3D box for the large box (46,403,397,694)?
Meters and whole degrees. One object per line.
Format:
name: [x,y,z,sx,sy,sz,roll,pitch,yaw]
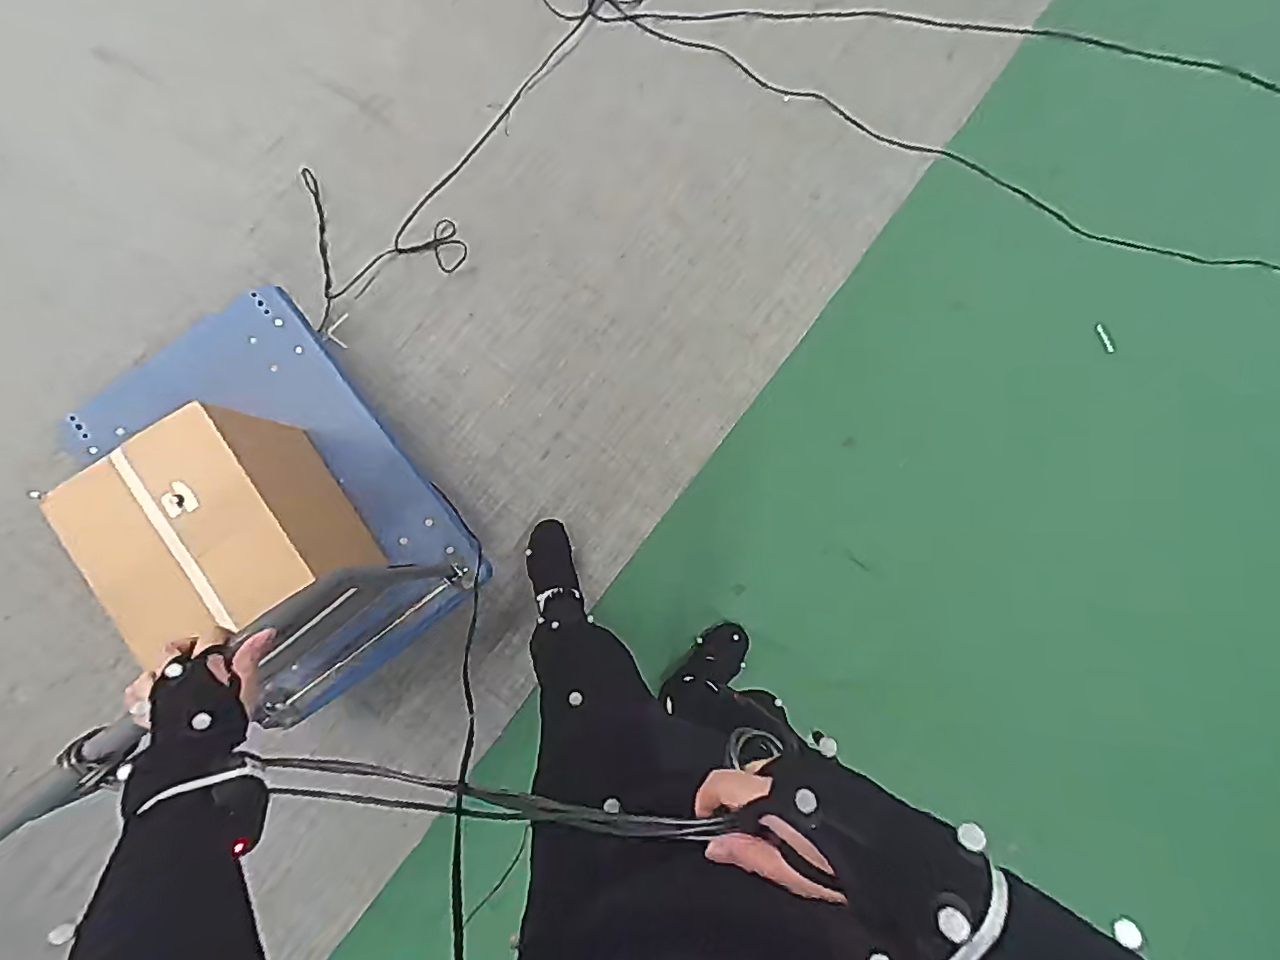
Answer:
large box: [-0.766,0.122,1.057,0.320,0.320,0.408,-34,87,-5]
